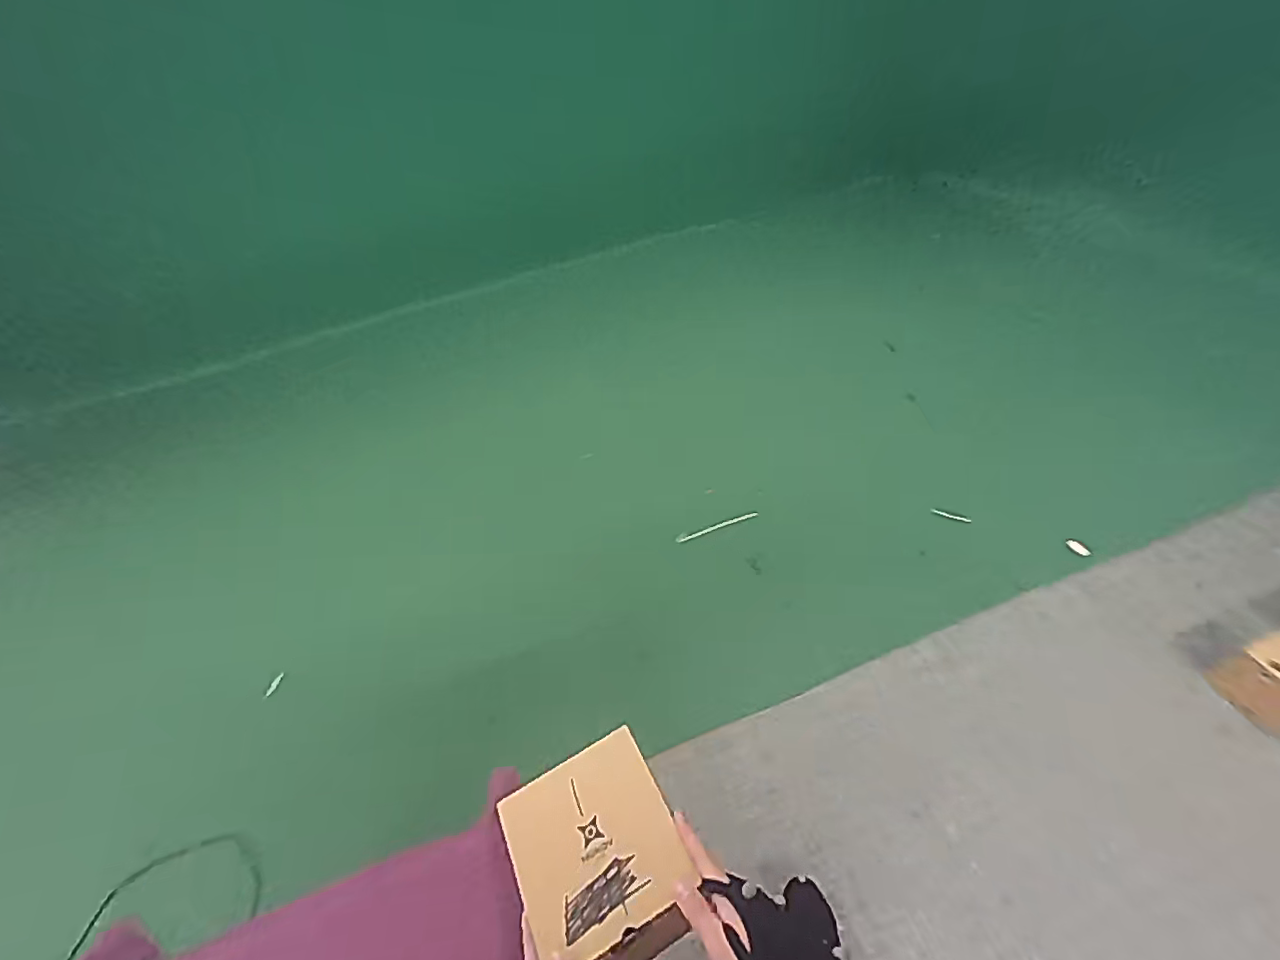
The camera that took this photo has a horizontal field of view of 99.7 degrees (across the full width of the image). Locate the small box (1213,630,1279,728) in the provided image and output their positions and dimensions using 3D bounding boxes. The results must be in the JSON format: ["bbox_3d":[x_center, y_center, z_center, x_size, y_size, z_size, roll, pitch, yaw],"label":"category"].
[{"bbox_3d":[1.612,0.485,1.343,0.179,0.176,0.168,-19,46,-8],"label":"small box"}]

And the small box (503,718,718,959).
[{"bbox_3d":[-0.027,0.410,0.601,0.168,0.176,0.179,-26,45,-11],"label":"small box"}]
